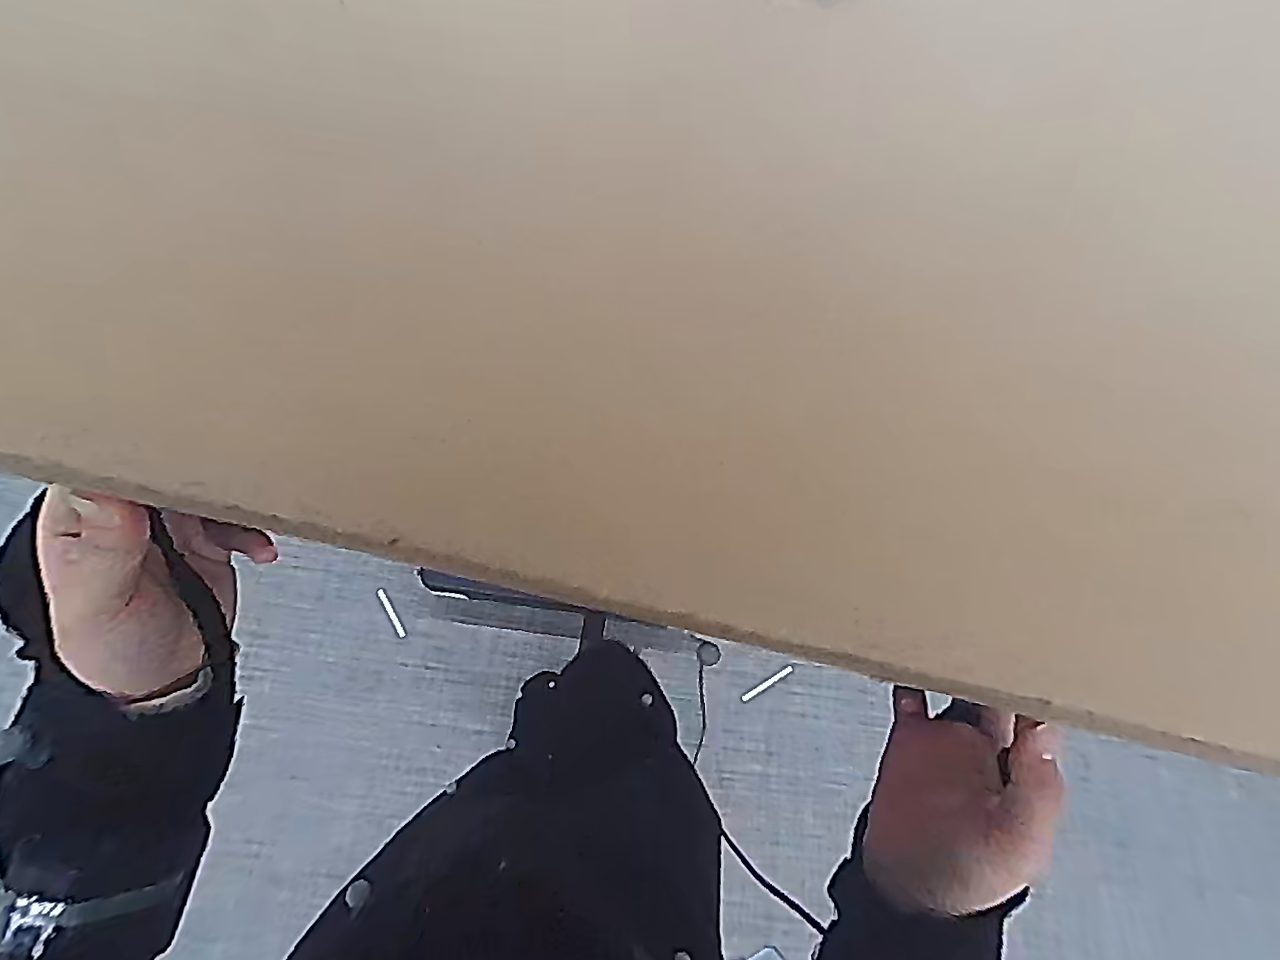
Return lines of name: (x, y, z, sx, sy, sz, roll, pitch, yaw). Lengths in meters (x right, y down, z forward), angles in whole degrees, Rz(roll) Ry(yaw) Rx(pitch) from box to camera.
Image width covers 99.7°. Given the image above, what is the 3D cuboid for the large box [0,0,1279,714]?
large box: (0.019, -0.105, 0.279, 0.408, 0.320, 0.320, 14, 77, -5)
